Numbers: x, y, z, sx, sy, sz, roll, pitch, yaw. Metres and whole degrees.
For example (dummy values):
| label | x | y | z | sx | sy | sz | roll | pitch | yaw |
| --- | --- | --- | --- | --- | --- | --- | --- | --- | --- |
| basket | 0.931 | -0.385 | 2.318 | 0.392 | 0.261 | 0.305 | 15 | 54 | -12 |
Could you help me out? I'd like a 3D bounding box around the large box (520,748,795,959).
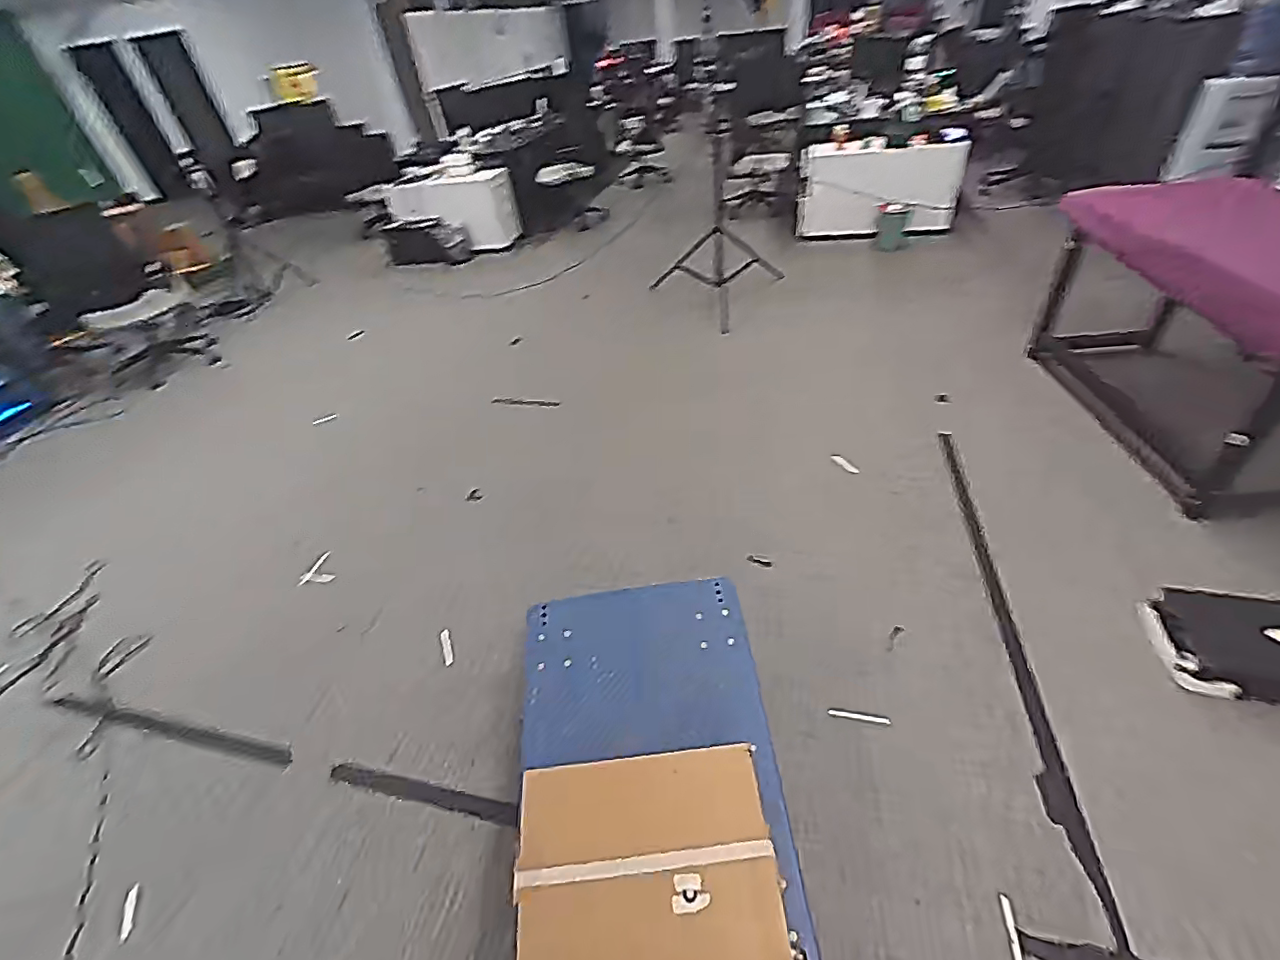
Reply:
| label | x | y | z | sx | sy | sz | roll | pitch | yaw |
| --- | --- | --- | --- | --- | --- | --- | --- | --- | --- |
| large box | 0.020 | 0.708 | 0.960 | 0.408 | 0.320 | 0.320 | -8 | 51 | 0 |
